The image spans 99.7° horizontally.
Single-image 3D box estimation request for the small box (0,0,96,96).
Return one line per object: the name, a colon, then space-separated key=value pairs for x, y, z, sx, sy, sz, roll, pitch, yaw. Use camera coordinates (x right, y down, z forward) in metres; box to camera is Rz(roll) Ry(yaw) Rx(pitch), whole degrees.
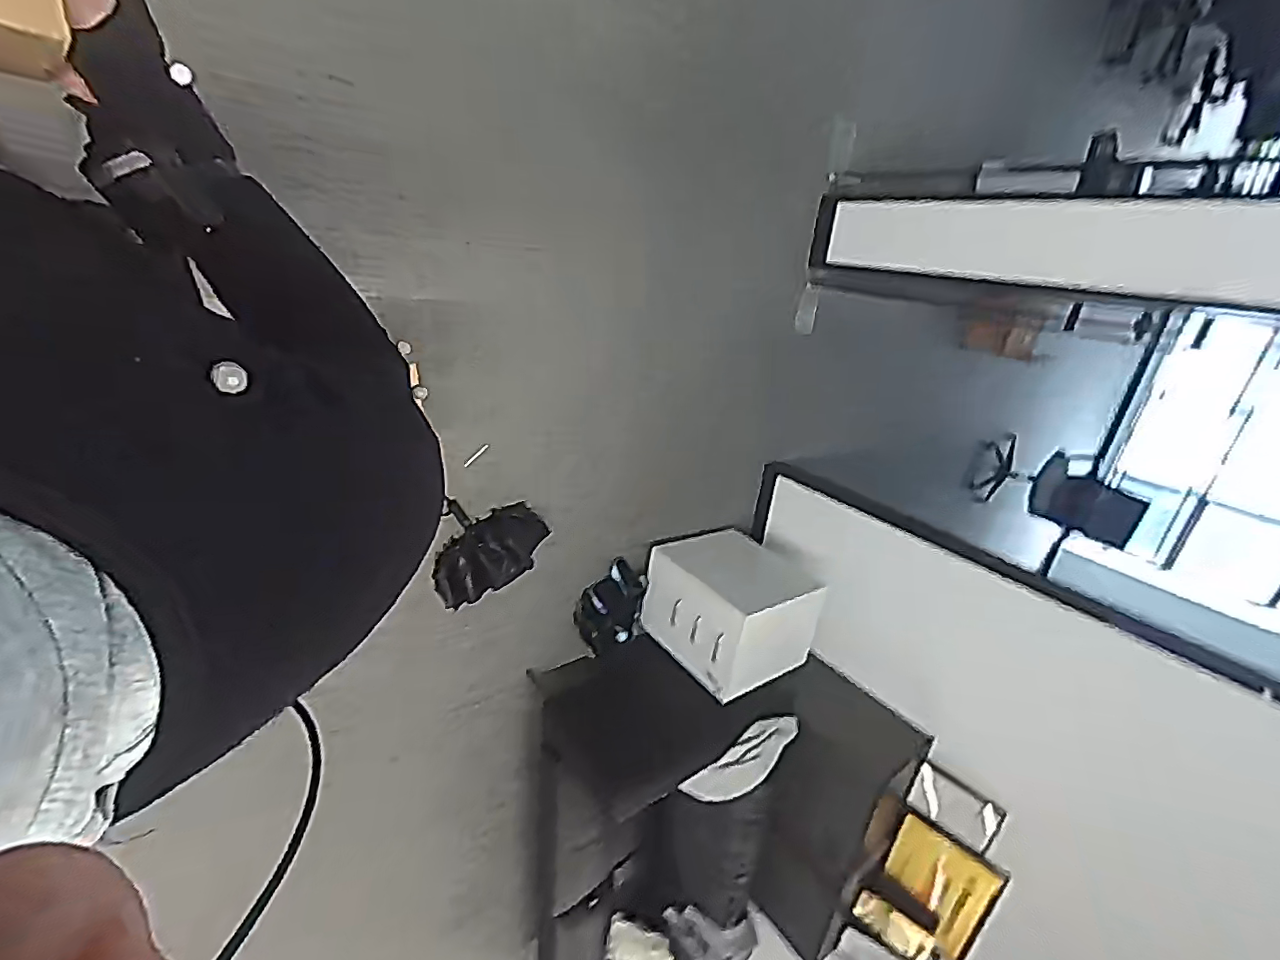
small box: x=-0.359 y=-0.274 z=0.210 sx=0.179 sy=0.176 sz=0.168 roll=-18 pitch=121 yaw=-44
